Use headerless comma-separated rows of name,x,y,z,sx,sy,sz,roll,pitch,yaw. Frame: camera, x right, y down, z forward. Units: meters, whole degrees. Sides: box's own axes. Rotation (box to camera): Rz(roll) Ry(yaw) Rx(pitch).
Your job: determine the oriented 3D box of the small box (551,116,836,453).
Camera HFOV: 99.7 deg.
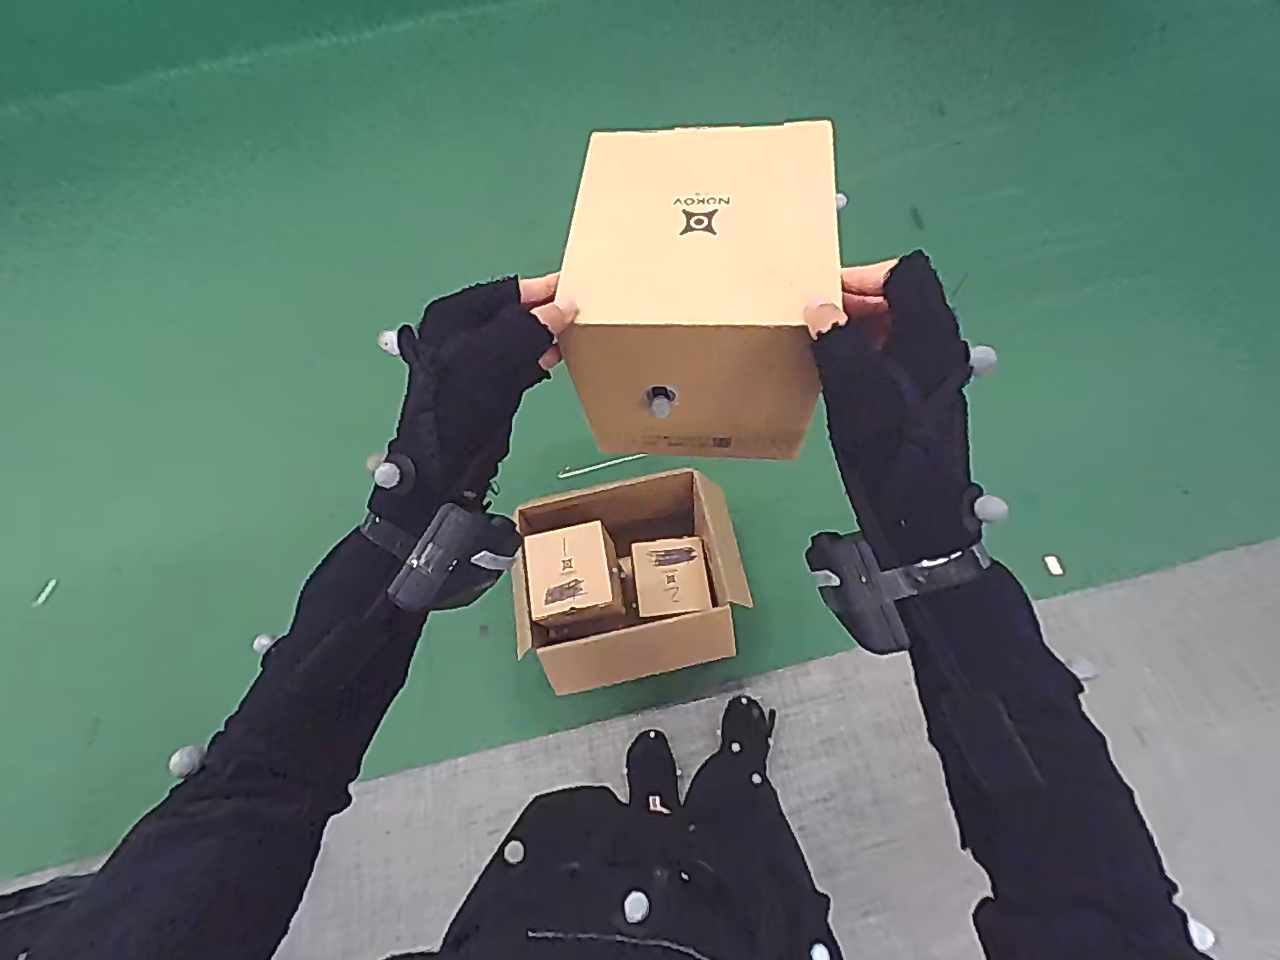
small box,0.046,-0.131,0.409,0.168,0.176,0.179,2,65,9
